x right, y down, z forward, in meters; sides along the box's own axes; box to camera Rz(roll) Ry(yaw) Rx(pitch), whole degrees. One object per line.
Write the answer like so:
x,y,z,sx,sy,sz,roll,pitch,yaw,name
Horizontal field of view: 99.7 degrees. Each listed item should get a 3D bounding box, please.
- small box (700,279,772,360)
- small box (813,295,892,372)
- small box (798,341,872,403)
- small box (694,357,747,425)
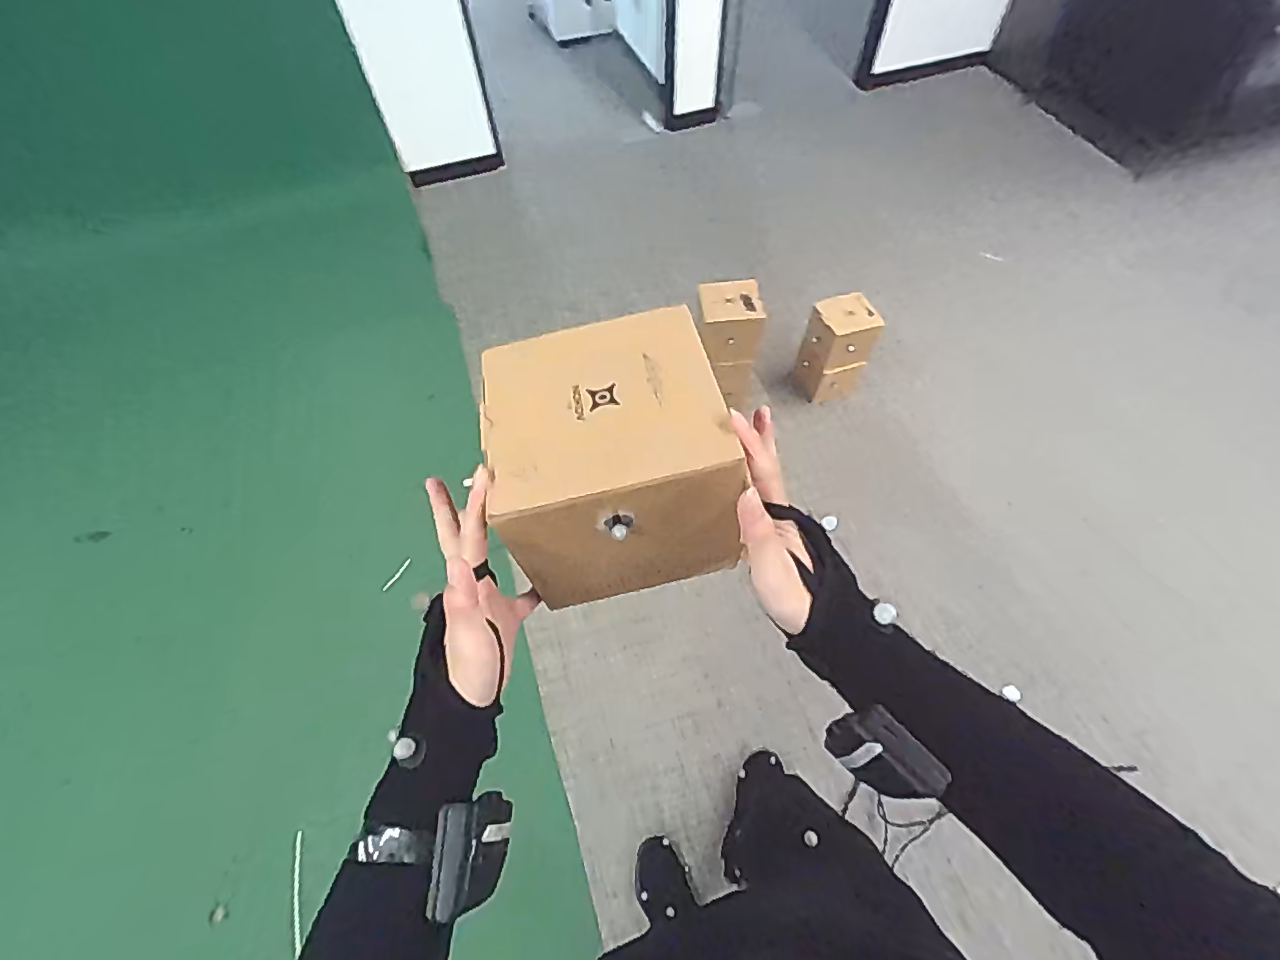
0.278,-0.473,1.606,0.179,0.176,0.168,-3,59,0,small box
0.694,-0.483,1.799,0.179,0.176,0.168,-13,60,-6,small box
0.692,-0.394,1.938,0.168,0.176,0.179,-15,60,-8,small box
0.280,-0.308,1.889,0.168,0.176,0.179,3,59,2,small box
